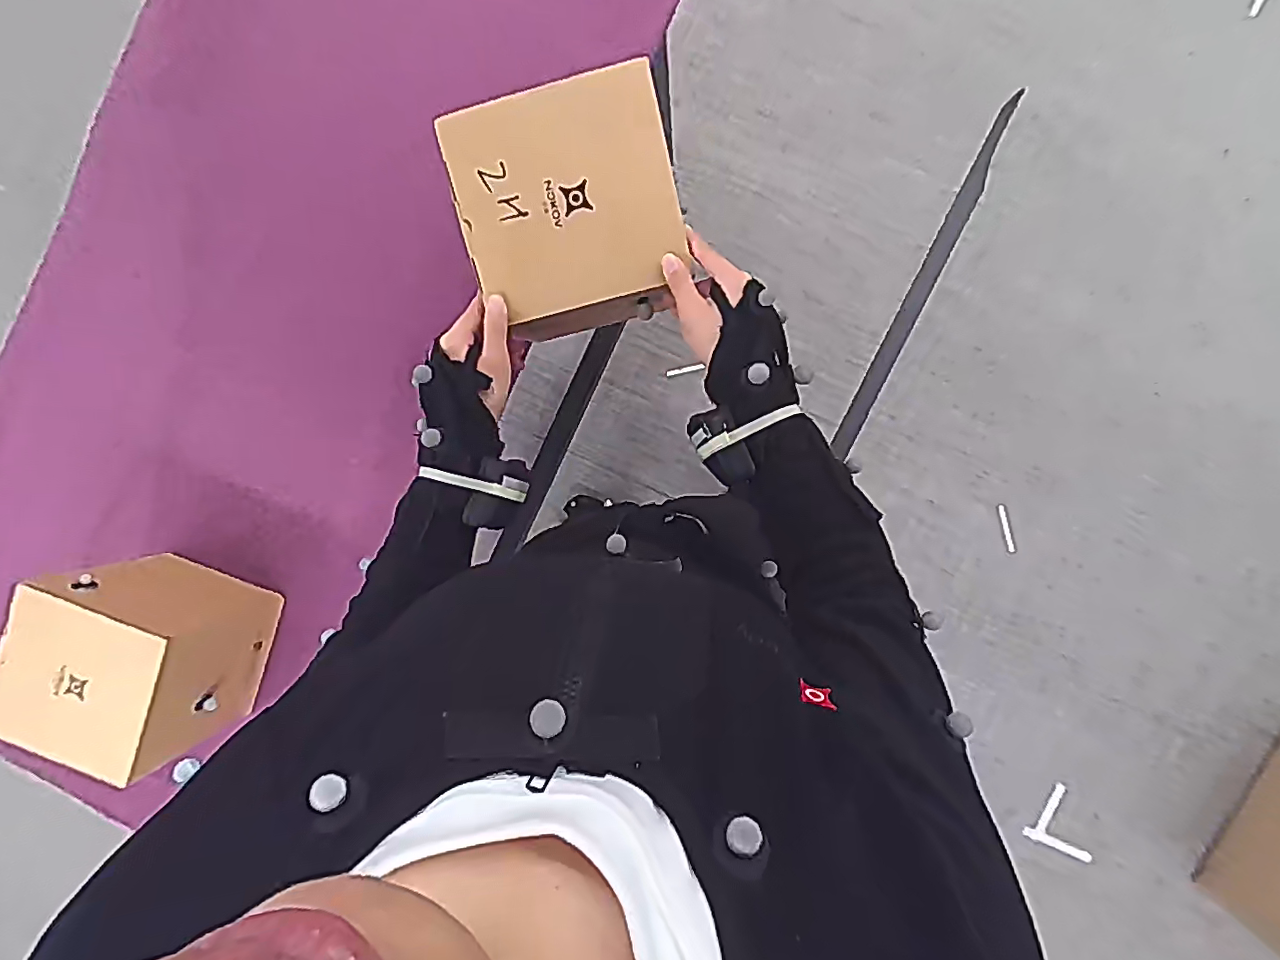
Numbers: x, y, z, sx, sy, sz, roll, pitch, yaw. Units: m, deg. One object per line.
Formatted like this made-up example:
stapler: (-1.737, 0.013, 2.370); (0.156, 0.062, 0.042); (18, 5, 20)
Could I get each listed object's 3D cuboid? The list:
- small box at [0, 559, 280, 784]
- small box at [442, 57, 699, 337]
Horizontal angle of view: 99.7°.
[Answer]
small box: (-0.567, 0.202, 0.626); (0.179, 0.176, 0.168); (19, 93, 4)
small box: (-0.051, -0.238, 0.504); (0.179, 0.176, 0.168); (-12, 99, 5)
